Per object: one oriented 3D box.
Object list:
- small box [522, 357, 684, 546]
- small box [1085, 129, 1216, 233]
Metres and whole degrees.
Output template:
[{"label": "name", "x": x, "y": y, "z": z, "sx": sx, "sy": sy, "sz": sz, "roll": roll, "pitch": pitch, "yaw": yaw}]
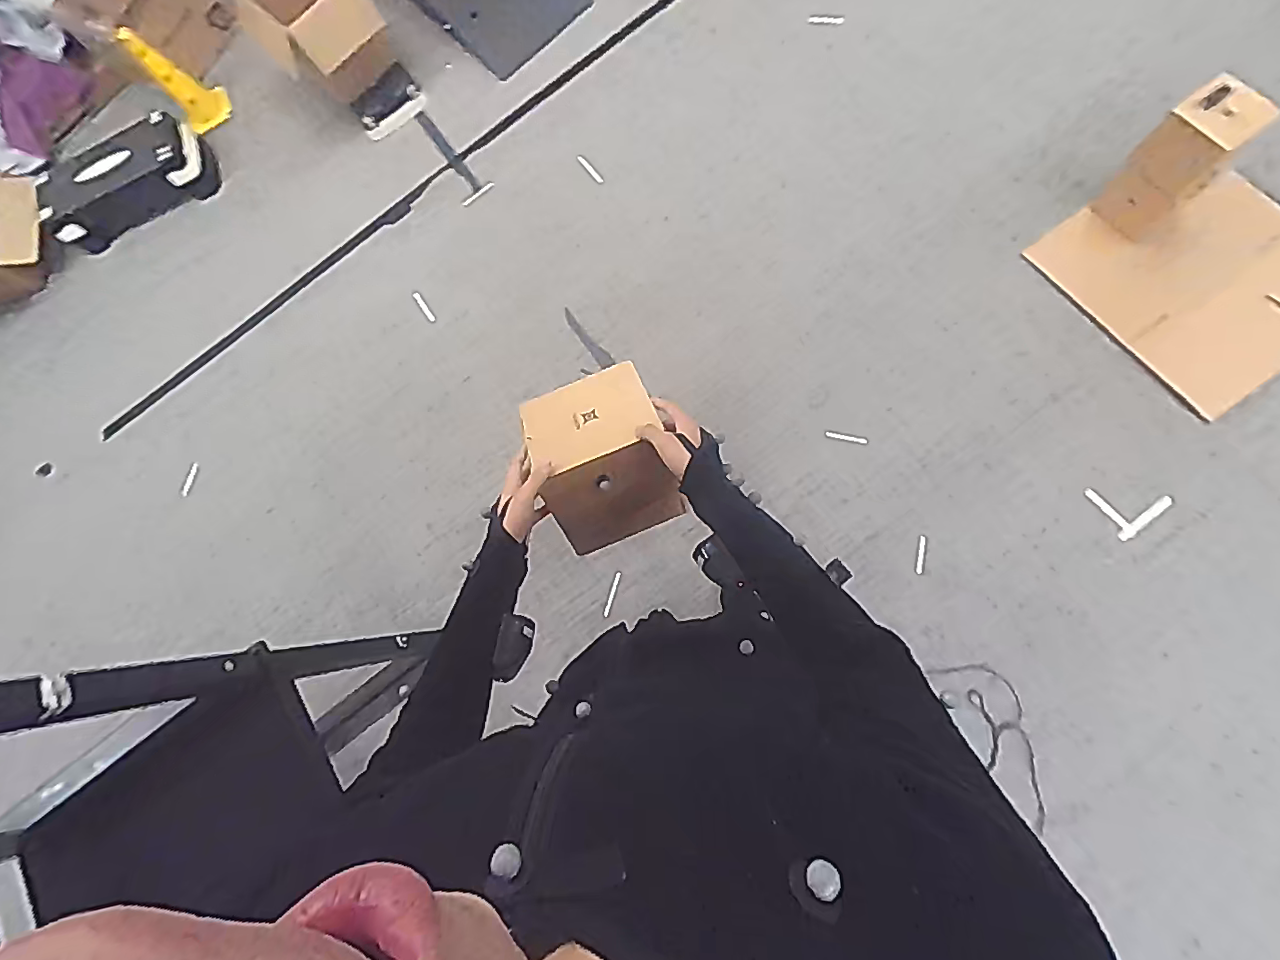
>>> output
[{"label": "small box", "x": -0.046, "y": -0.037, "z": 0.768, "sx": 0.179, "sy": 0.176, "sz": 0.168, "roll": -22, "pitch": 47, "yaw": 1}, {"label": "small box", "x": 1.461, "y": -0.850, "z": 1.561, "sx": 0.168, "sy": 0.176, "sz": 0.179, "roll": -36, "pitch": 74, "yaw": 0}]
